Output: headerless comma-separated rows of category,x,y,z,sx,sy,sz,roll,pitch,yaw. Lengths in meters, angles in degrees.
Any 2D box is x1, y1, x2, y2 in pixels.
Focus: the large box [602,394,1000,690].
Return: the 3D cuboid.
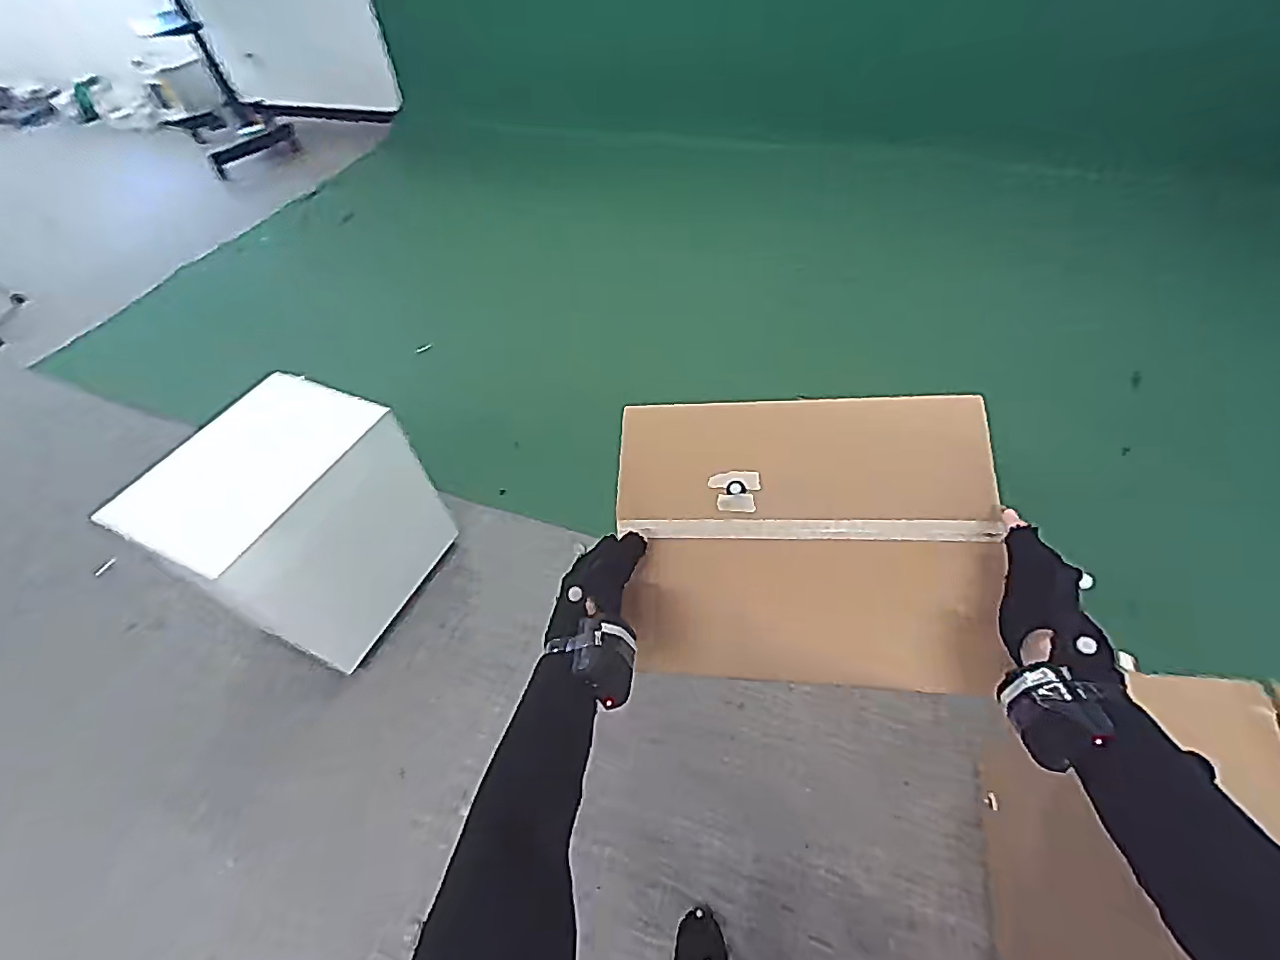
large box,0.187,0.100,0.736,0.408,0.320,0.320,-2,73,12
